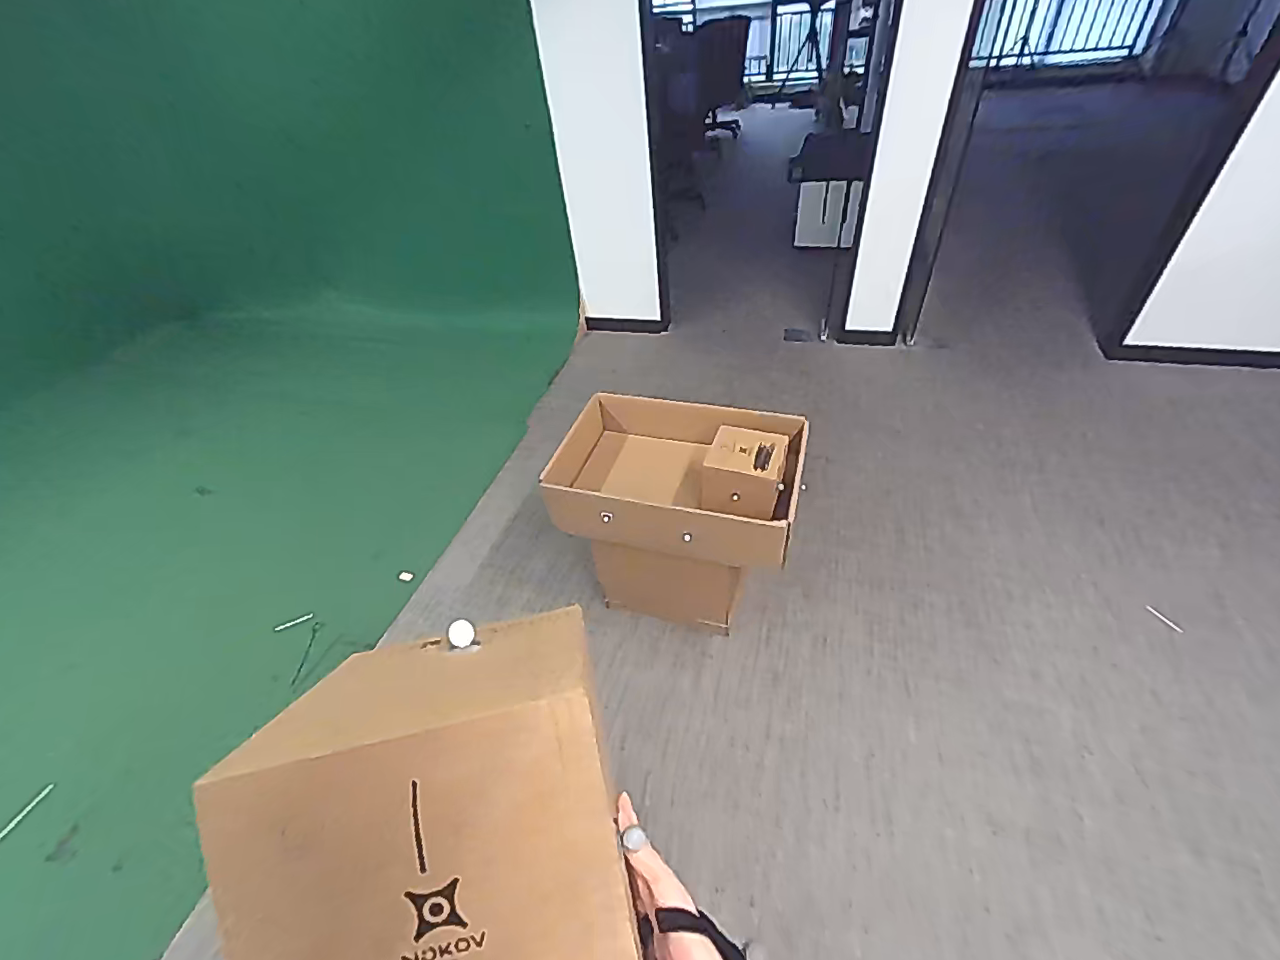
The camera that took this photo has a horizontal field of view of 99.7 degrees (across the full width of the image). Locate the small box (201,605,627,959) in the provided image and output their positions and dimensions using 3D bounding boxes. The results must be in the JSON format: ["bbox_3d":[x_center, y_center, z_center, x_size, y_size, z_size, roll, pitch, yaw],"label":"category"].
[{"bbox_3d":[-0.103,0.190,0.321,0.168,0.179,0.176,-11,0,-7],"label":"small box"}]
